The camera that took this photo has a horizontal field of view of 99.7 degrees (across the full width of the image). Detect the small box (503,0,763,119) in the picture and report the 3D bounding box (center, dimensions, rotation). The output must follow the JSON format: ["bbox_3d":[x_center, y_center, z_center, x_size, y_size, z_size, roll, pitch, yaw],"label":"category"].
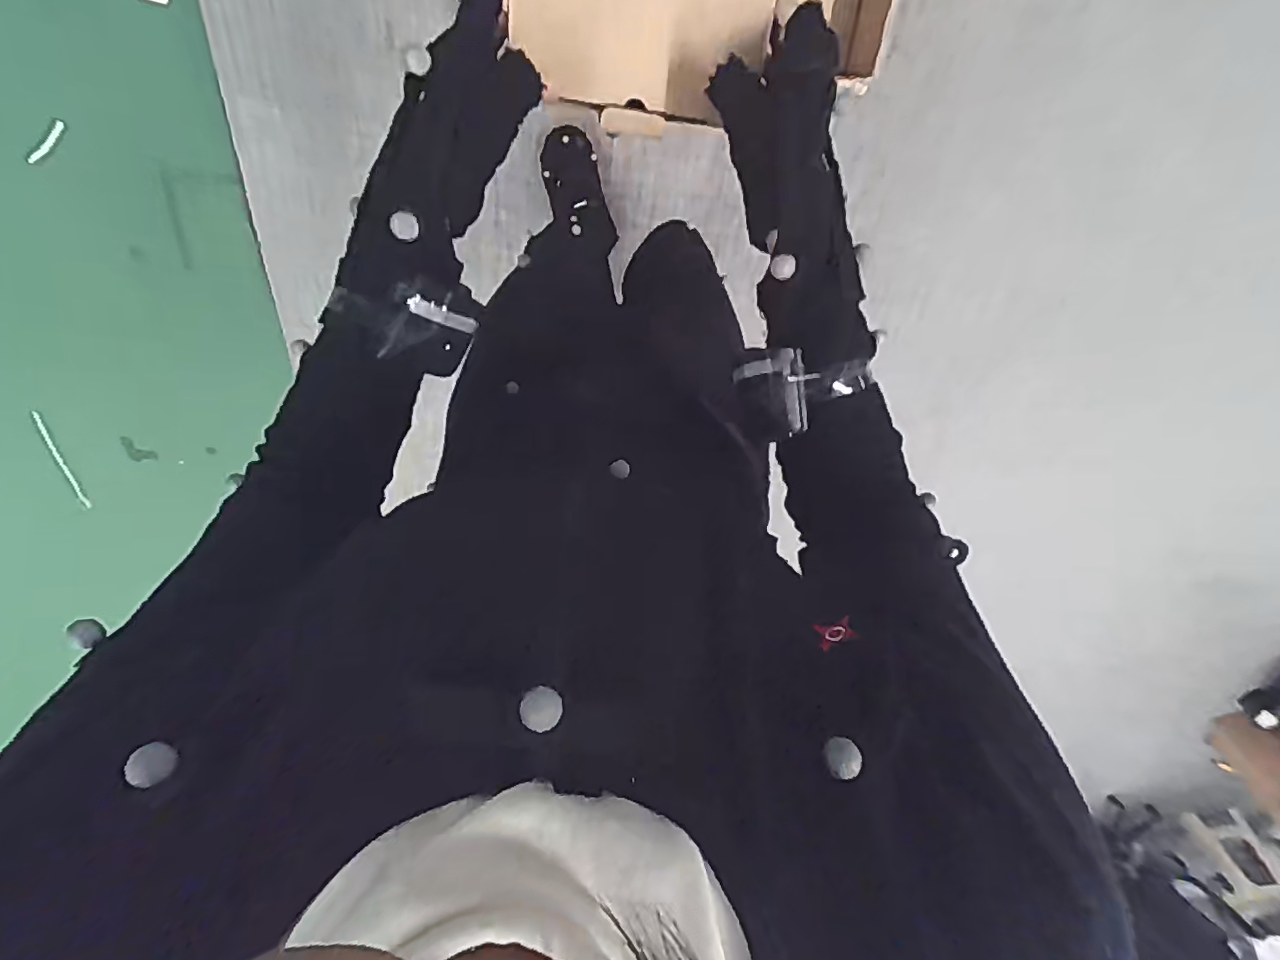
[{"bbox_3d":[-0.009,-0.376,0.382,0.168,0.176,0.179,1,126,-12],"label":"small box"}]
